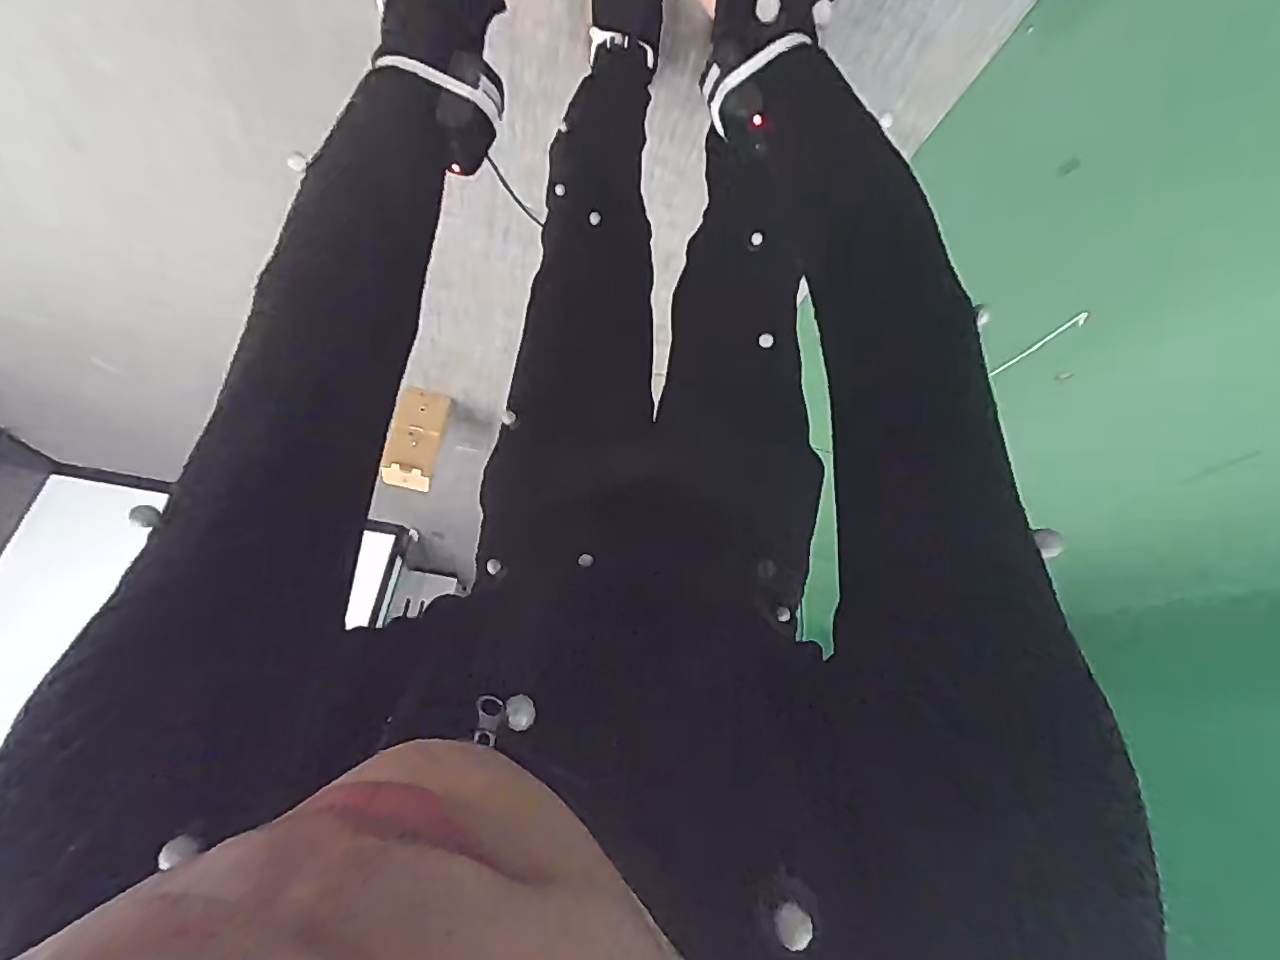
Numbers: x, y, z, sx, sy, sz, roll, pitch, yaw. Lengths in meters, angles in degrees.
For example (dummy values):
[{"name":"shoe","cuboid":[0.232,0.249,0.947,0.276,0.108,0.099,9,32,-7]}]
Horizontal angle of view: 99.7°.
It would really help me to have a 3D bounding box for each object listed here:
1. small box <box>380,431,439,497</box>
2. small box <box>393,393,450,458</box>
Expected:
[{"name":"small box","cuboid":[-0.857,-0.057,2.017,0.168,0.176,0.179,15,154,-18]},{"name":"small box","cuboid":[-0.835,-0.209,2.078,0.168,0.176,0.179,14,153,-14]}]
